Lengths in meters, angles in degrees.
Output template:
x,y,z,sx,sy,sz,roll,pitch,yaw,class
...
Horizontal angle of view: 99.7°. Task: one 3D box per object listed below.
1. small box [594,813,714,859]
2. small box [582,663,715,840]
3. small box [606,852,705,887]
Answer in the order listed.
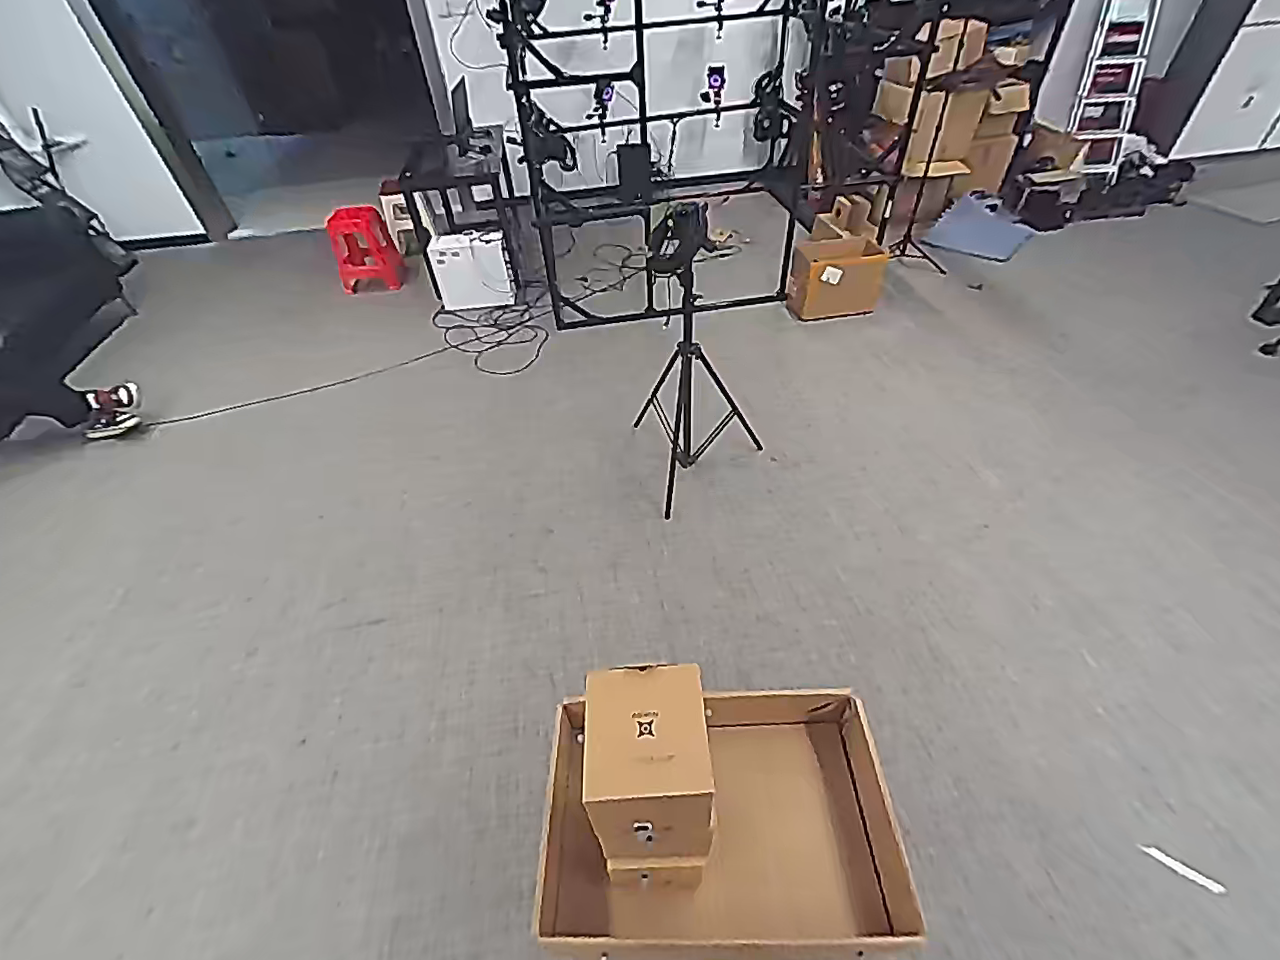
x,y,z,sx,sy,sz,roll,pitch,yaw,class
0.025,0.503,0.883,0.179,0.176,0.168,-1,43,1,small box
0.012,0.385,0.770,0.168,0.176,0.179,-4,42,1,small box
0.029,0.628,0.991,0.168,0.176,0.179,-2,43,0,small box
